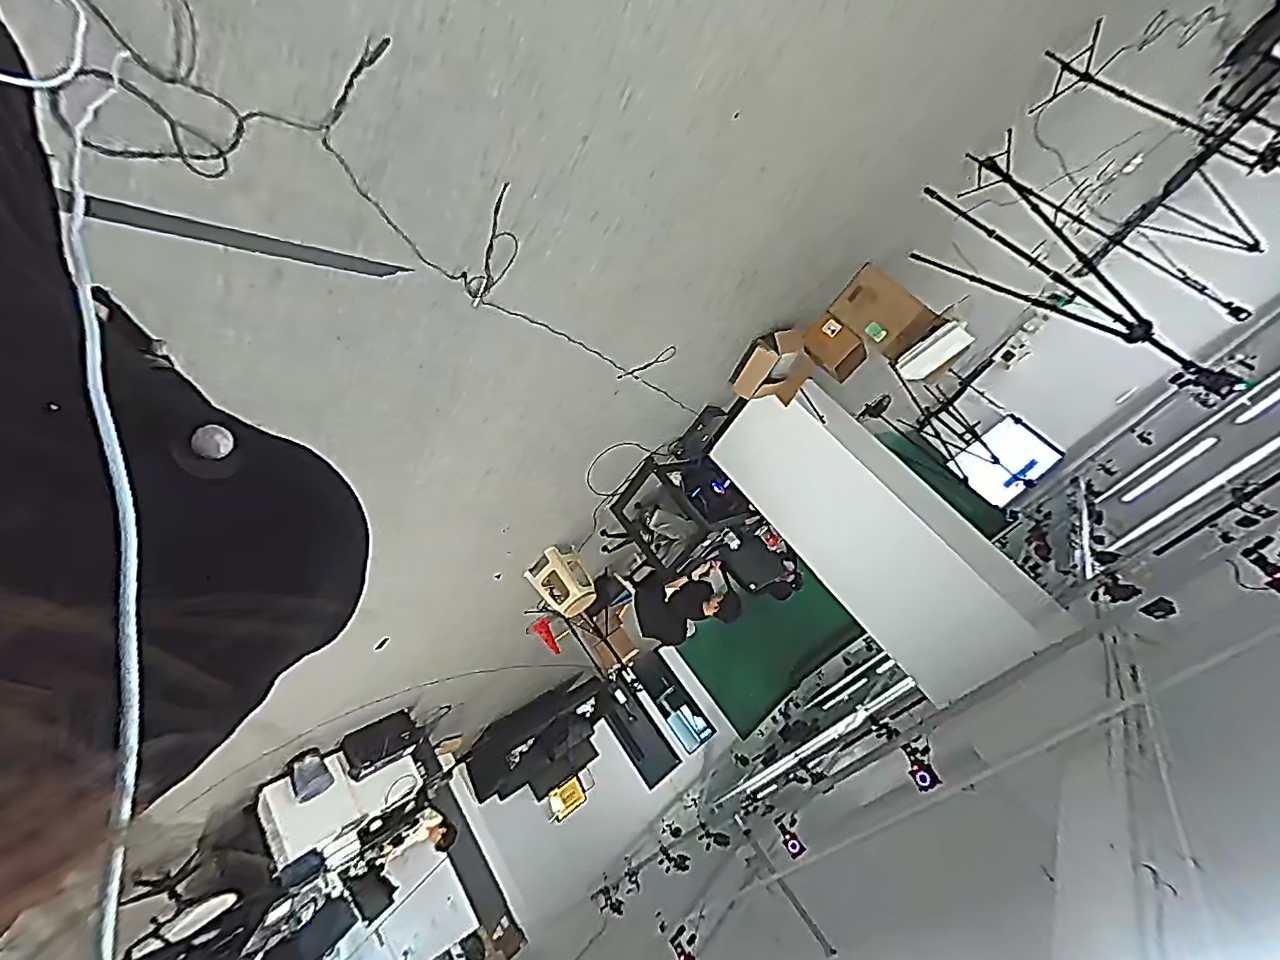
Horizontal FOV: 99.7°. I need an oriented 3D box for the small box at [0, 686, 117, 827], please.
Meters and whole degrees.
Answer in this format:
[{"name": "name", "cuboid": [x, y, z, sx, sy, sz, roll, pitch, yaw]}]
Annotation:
[{"name": "small box", "cuboid": [-1.221, 0.562, 1.114, 0.179, 0.176, 0.168, -8, 142, -53]}]
